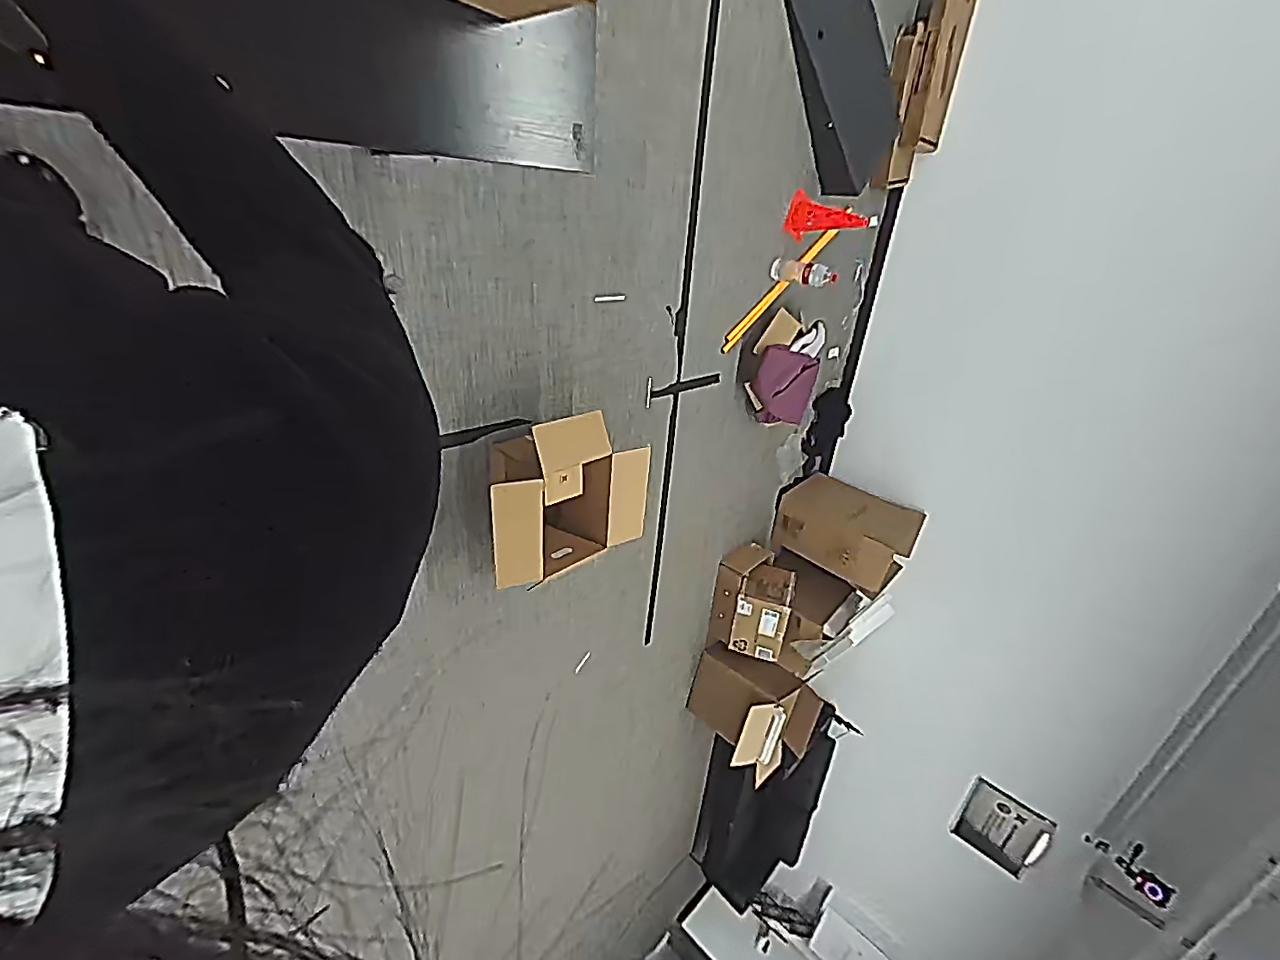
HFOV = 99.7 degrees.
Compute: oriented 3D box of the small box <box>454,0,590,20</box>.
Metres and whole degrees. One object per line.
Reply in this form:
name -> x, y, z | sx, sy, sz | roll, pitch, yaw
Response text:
small box -> -0.166, -0.637, 0.589 | 0.179, 0.176, 0.168 | -19, 125, -43
